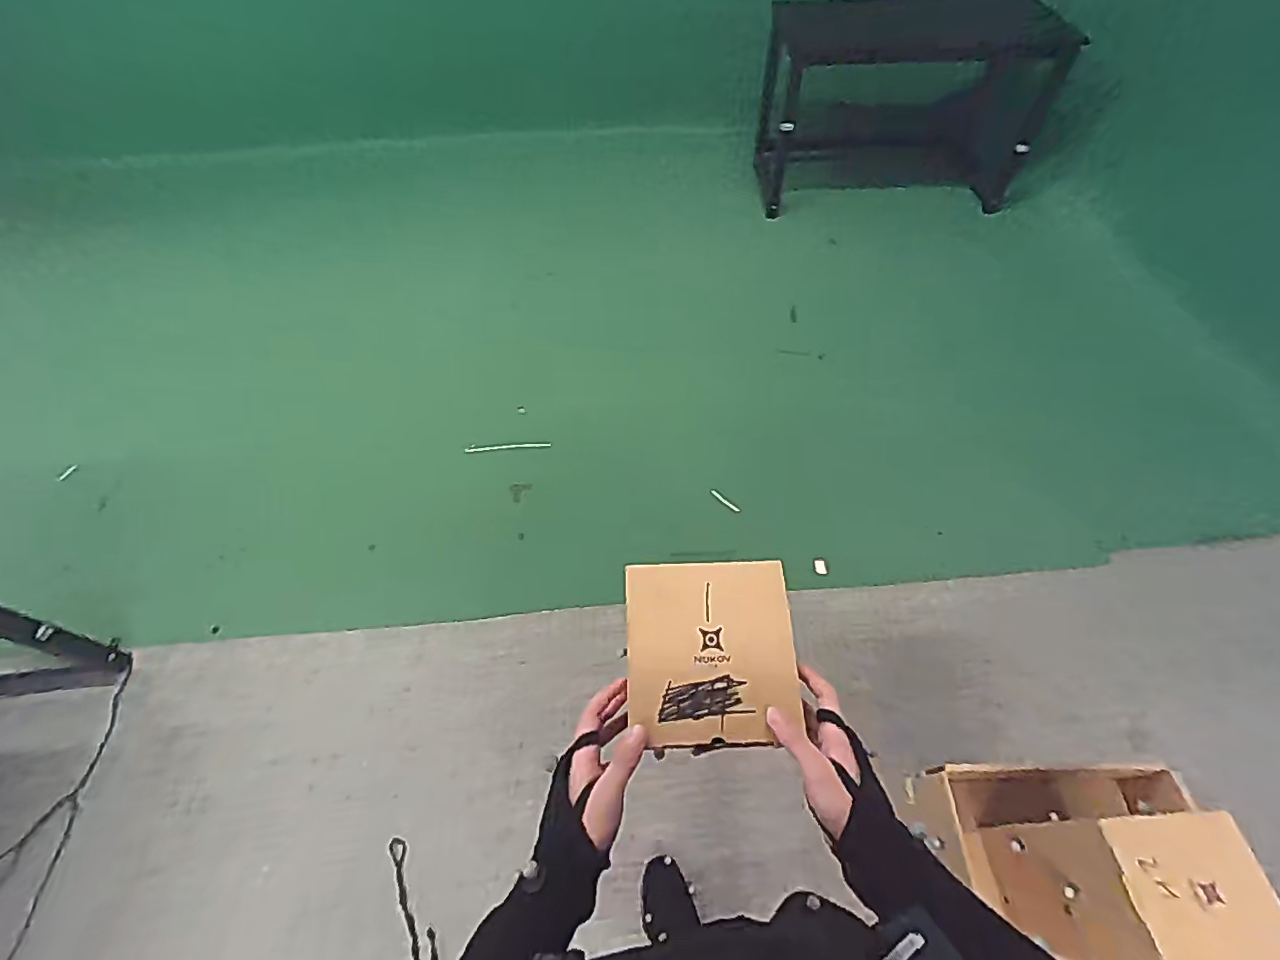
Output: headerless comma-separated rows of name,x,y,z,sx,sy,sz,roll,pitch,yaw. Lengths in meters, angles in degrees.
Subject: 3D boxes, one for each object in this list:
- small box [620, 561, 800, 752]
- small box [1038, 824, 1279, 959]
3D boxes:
small box,0.064,0.198,0.596,0.168,0.176,0.179,-1,63,-1
small box,0.687,0.555,0.713,0.179,0.176,0.168,-3,54,0
